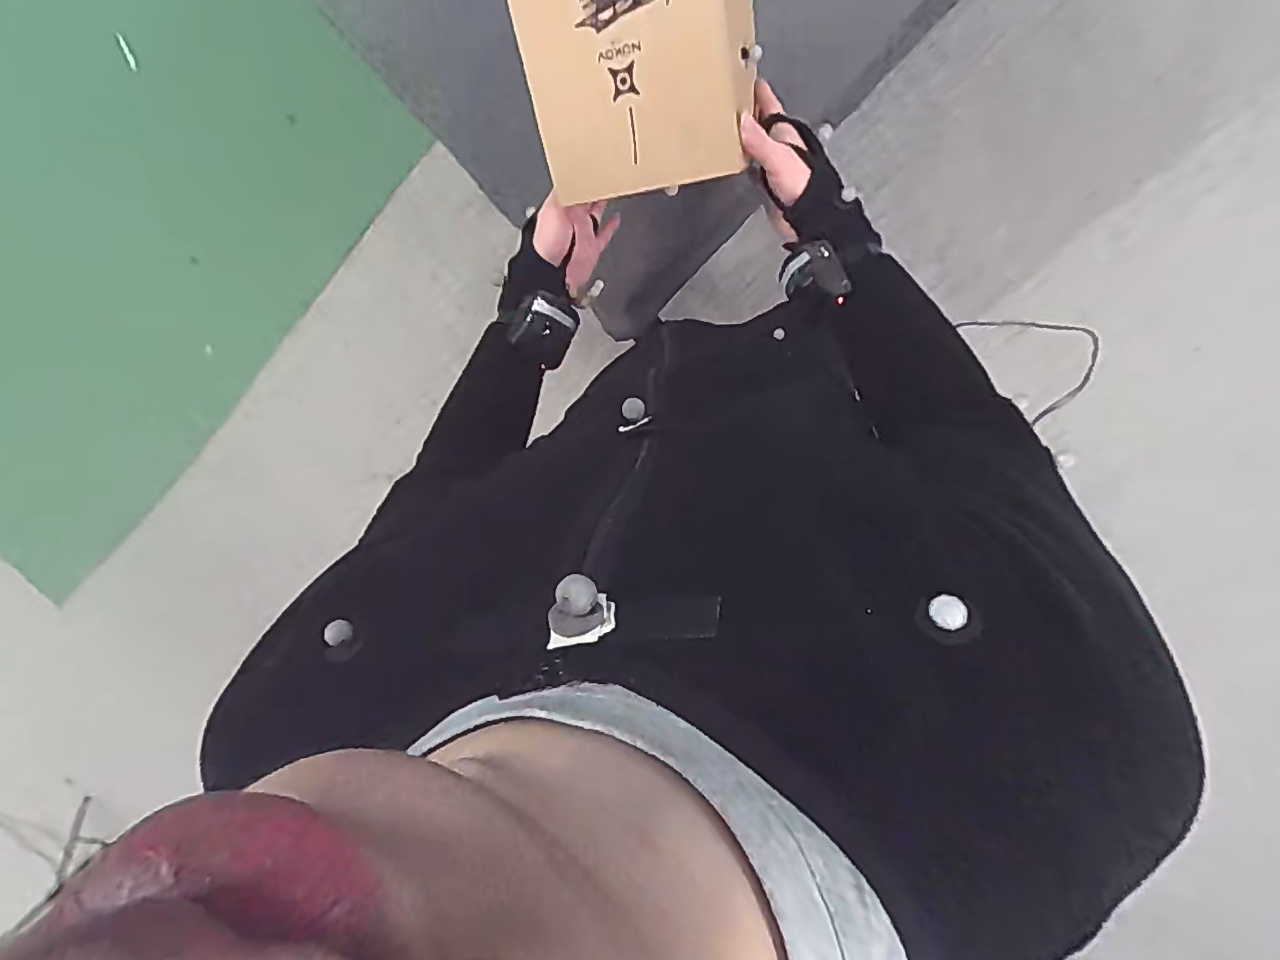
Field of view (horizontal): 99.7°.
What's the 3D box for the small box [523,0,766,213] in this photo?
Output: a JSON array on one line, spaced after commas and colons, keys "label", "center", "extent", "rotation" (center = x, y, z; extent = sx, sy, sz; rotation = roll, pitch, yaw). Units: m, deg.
[{"label": "small box", "center": [0.020, -0.361, 0.490], "extent": [0.168, 0.176, 0.179], "rotation": [0, 124, 20]}]
